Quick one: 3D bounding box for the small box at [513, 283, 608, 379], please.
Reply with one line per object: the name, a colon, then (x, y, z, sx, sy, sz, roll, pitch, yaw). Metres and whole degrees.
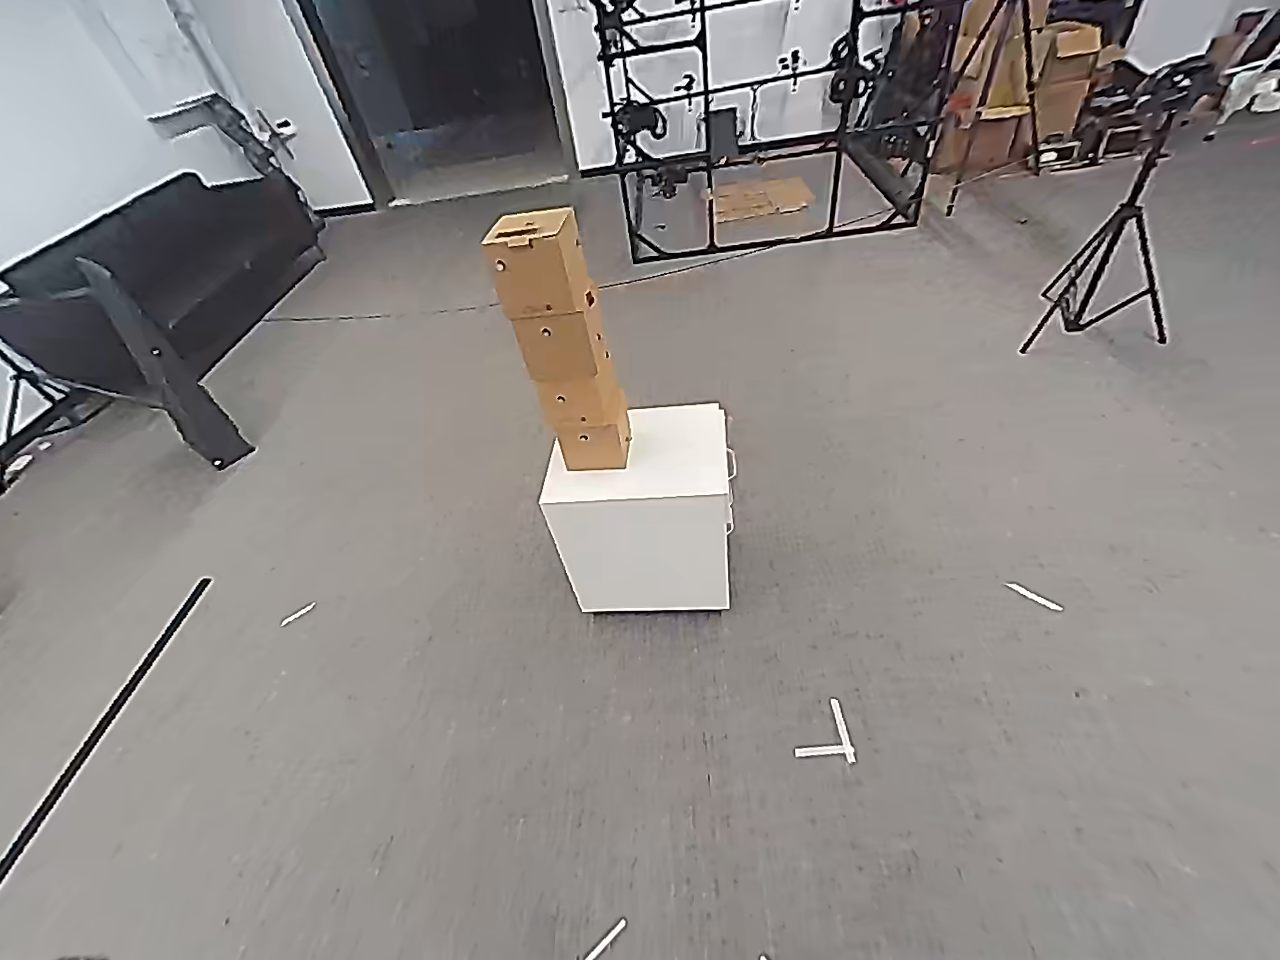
small box: (-0.186, -0.359, 1.321, 0.179, 0.176, 0.168, -3, 45, 8)

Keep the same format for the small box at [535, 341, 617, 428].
small box: (-0.162, -0.252, 1.444, 0.168, 0.176, 0.179, -1, 44, 10)

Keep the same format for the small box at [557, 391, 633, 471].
small box: (-0.123, -0.137, 1.553, 0.179, 0.176, 0.168, -1, 45, 8)
